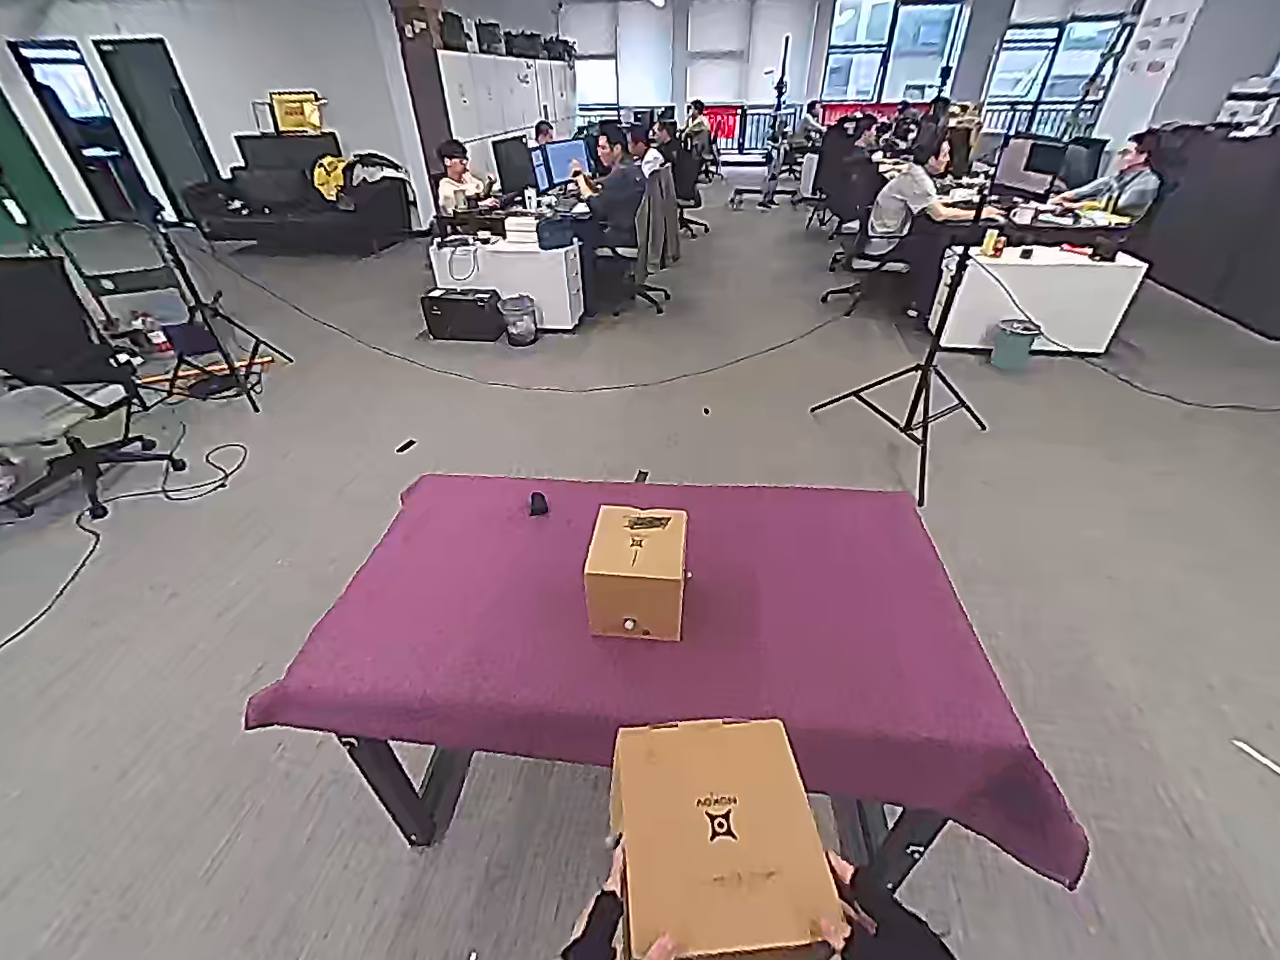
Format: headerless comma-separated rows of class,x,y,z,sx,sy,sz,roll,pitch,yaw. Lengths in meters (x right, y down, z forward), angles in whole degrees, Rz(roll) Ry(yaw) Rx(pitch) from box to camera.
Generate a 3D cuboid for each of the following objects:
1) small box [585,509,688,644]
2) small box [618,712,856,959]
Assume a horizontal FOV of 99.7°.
small box,-0.001,0.176,1.007,0.168,0.176,0.179,3,37,6
small box,0.068,0.348,0.508,0.168,0.176,0.179,-2,37,-7
